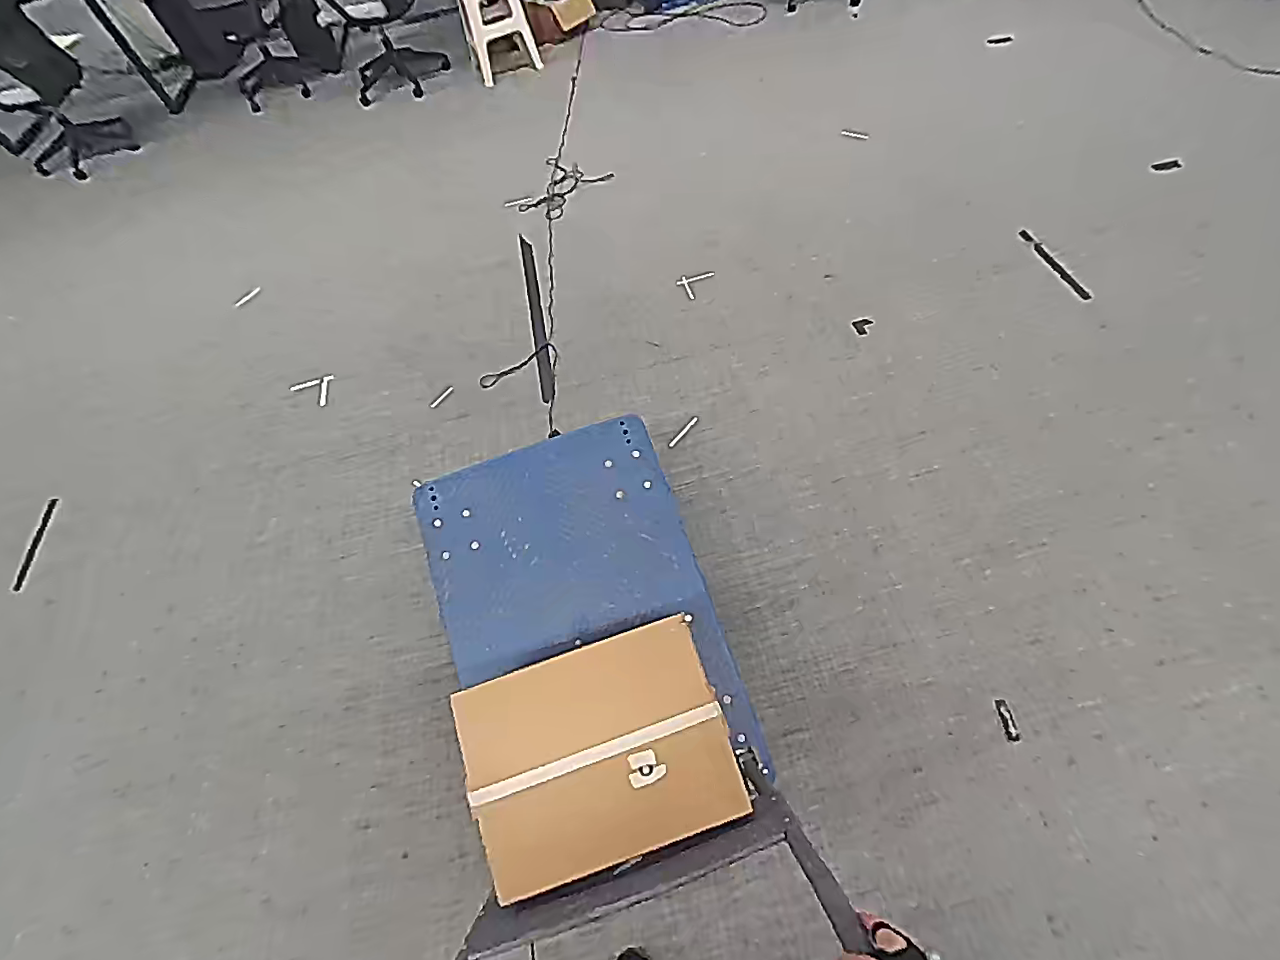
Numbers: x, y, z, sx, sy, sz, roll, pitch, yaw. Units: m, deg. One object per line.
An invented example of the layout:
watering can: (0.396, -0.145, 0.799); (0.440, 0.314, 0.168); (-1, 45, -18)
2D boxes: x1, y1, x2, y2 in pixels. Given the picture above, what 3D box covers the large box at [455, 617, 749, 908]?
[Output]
large box: (-0.065, 0.473, 0.996); (0.408, 0.320, 0.320); (-19, 76, -4)
